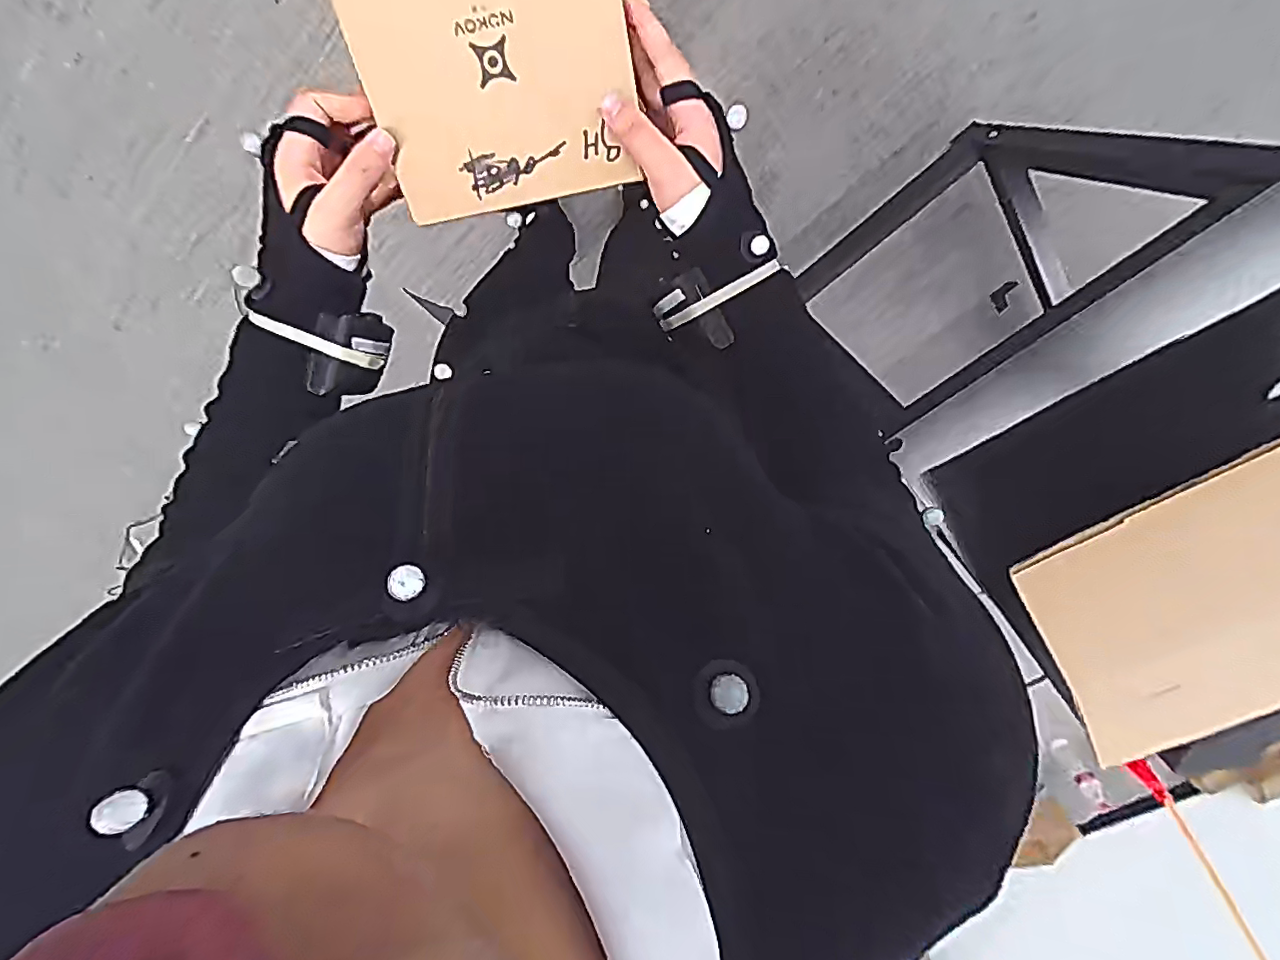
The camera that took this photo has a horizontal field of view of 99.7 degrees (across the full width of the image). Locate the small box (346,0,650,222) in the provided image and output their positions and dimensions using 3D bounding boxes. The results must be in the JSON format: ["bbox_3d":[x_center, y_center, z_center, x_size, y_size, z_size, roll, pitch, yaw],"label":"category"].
[{"bbox_3d":[-0.091,-0.304,0.398,0.168,0.176,0.179,-10,120,2],"label":"small box"}]
